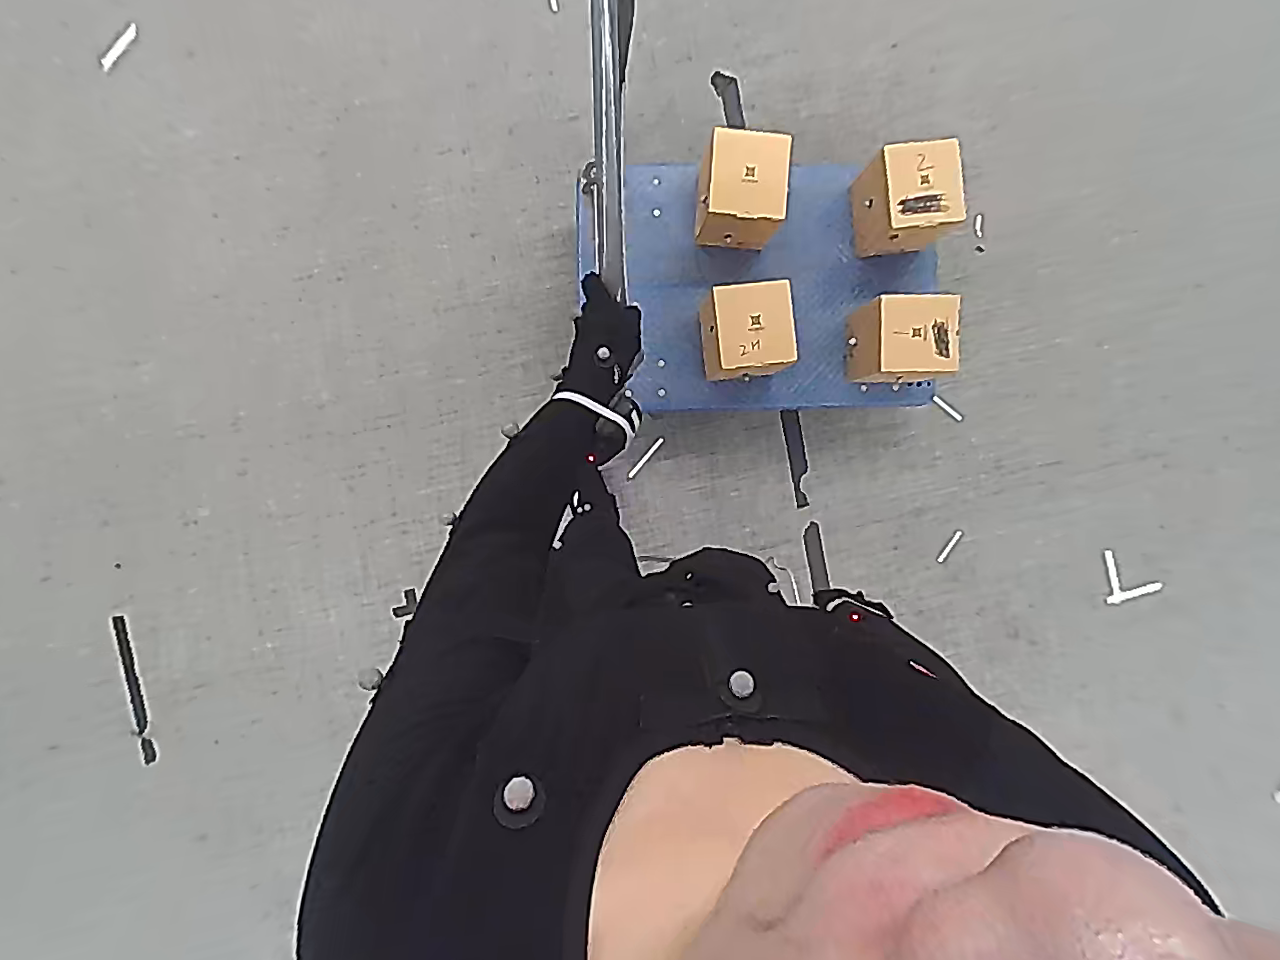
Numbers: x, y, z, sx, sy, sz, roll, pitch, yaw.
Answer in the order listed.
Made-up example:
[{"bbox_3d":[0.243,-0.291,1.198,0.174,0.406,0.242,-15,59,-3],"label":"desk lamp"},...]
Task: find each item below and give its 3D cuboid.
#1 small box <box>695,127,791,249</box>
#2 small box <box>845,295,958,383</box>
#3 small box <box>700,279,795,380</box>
[{"bbox_3d":[0.221,-0.638,1.197,0.168,0.176,0.179,4,94,-5],"label":"small box"},{"bbox_3d":[0.591,-0.316,1.237,0.179,0.176,0.168,0,92,-3],"label":"small box"},{"bbox_3d":[0.233,-0.331,1.211,0.168,0.176,0.179,-6,93,-4],"label":"small box"}]
